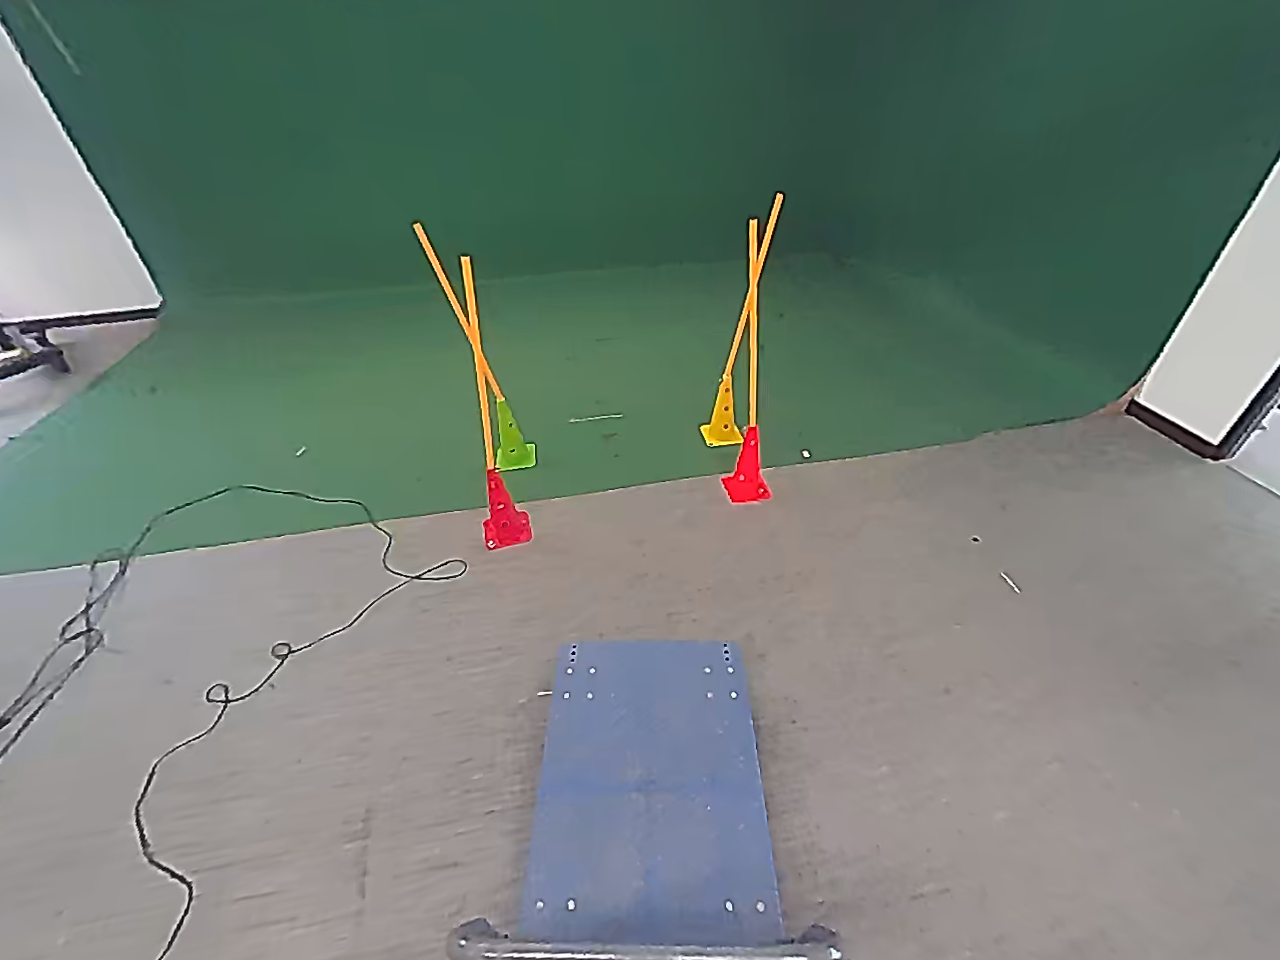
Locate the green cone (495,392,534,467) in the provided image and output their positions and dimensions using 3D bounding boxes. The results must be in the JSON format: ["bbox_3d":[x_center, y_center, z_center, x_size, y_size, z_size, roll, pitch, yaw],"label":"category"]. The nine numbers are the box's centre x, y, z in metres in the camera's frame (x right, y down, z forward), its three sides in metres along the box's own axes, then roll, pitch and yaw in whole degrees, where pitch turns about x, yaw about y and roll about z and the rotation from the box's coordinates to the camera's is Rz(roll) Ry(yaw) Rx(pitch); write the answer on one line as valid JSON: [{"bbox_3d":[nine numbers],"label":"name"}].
[{"bbox_3d":[-0.661,-0.271,2.697,0.200,0.368,0.202,-8,39,-6],"label":"green cone"}]

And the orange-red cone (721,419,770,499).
[{"bbox_3d":[0.491,-0.115,2.443,0.198,0.360,0.199,-7,38,-7],"label":"orange-red cone"}]
